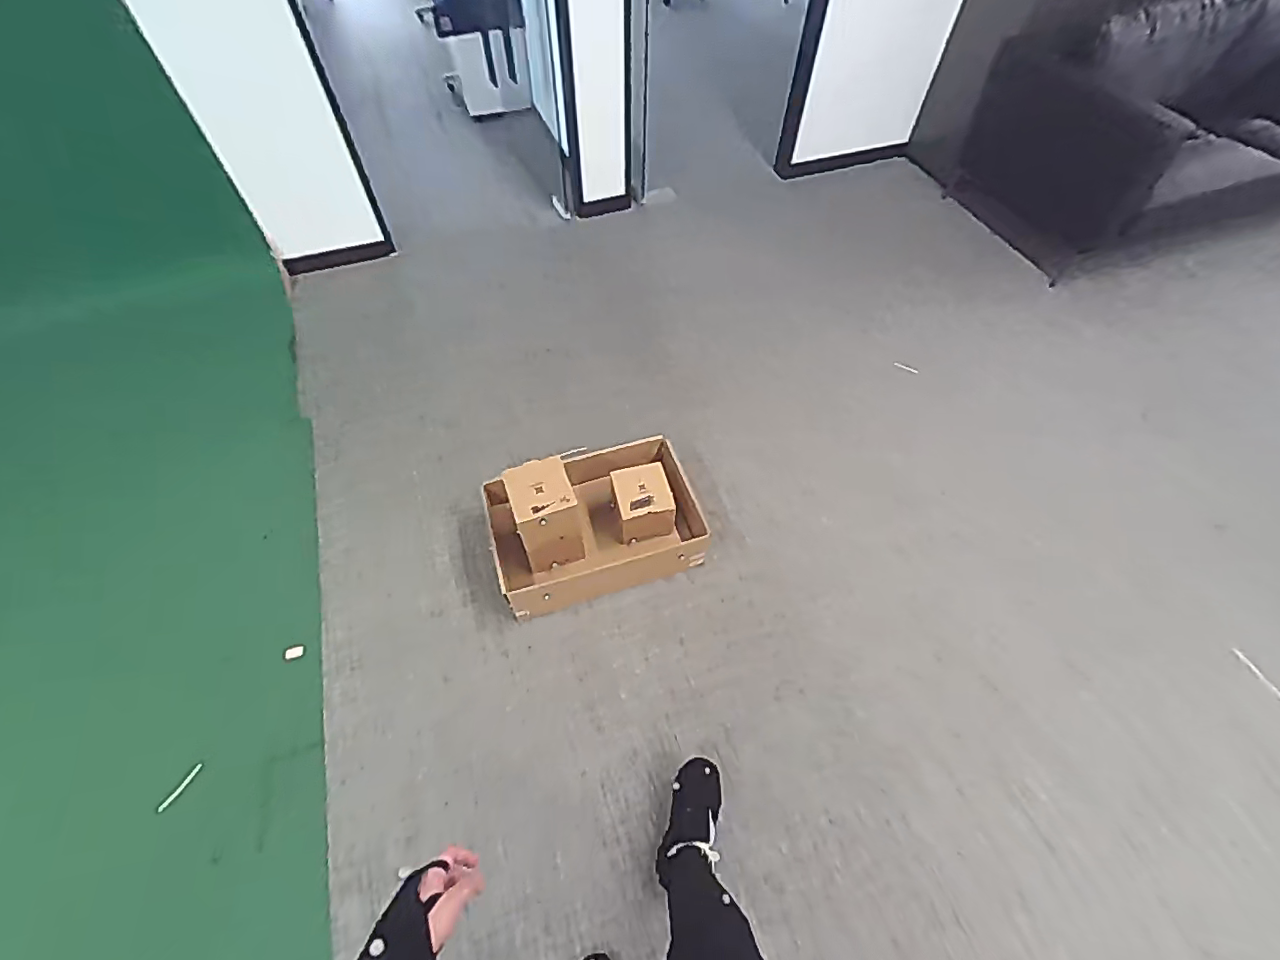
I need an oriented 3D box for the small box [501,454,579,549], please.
[{"bbox_3d":[-0.272,0.061,1.486,0.168,0.176,0.179,-18,58,-12],"label":"small box"}]
